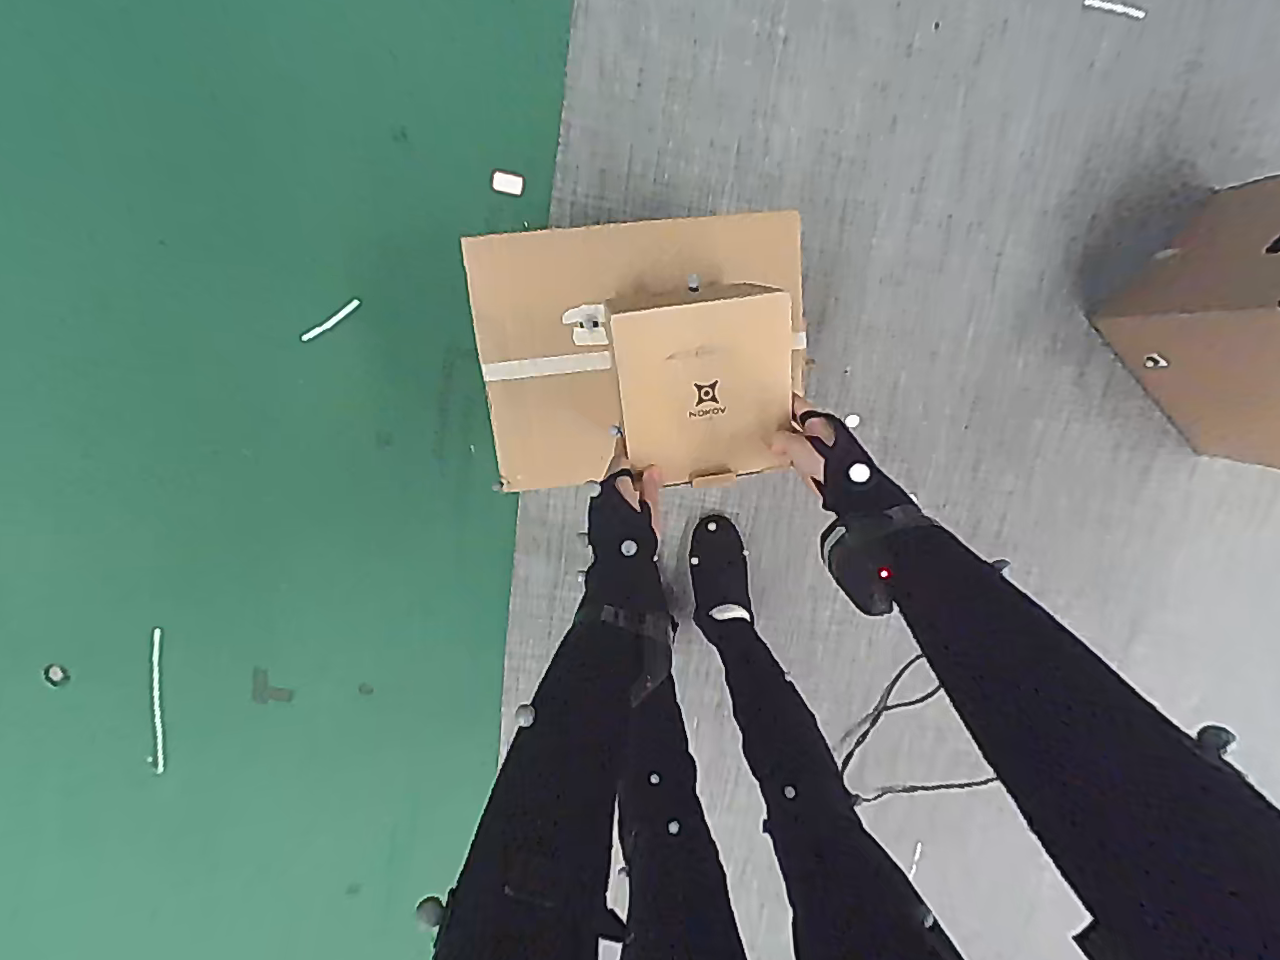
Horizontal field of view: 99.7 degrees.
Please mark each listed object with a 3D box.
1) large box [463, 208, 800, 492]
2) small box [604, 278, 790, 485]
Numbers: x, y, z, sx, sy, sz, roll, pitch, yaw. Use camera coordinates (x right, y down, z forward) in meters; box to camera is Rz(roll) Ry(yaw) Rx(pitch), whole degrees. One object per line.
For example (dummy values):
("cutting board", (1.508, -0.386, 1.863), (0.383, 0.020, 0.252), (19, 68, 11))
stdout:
("large box", (-0.005, -0.191, 0.823), (0.408, 0.320, 0.320), (-6, 103, -1))
("small box", (0.054, -0.114, 0.582), (0.168, 0.176, 0.179), (-8, 113, -3))
